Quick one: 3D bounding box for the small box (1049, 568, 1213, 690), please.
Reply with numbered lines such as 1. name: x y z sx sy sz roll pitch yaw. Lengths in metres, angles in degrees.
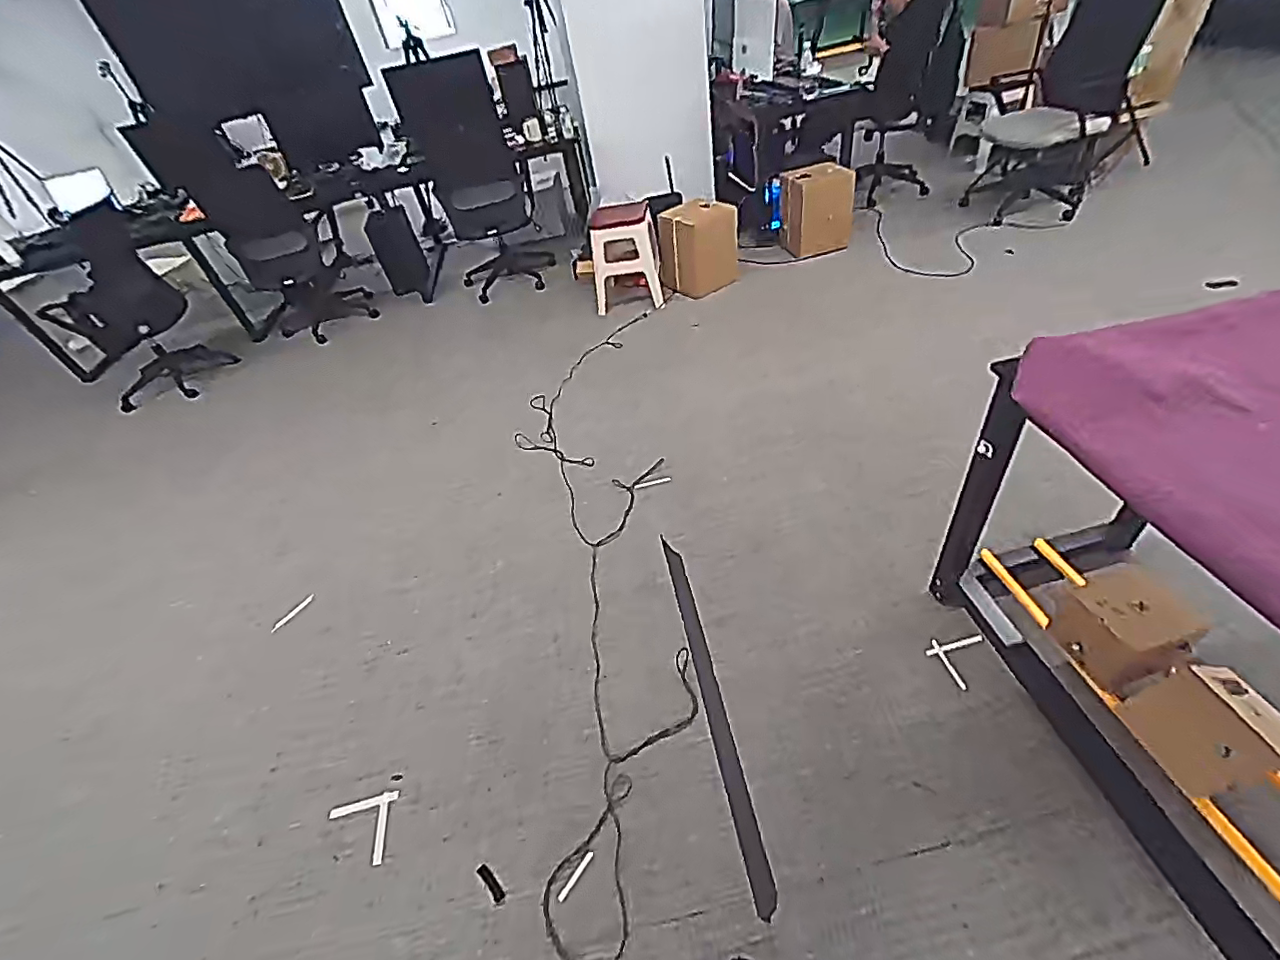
1. small box: 1.047 0.325 1.174 0.179 0.176 0.168 -17 42 -3
